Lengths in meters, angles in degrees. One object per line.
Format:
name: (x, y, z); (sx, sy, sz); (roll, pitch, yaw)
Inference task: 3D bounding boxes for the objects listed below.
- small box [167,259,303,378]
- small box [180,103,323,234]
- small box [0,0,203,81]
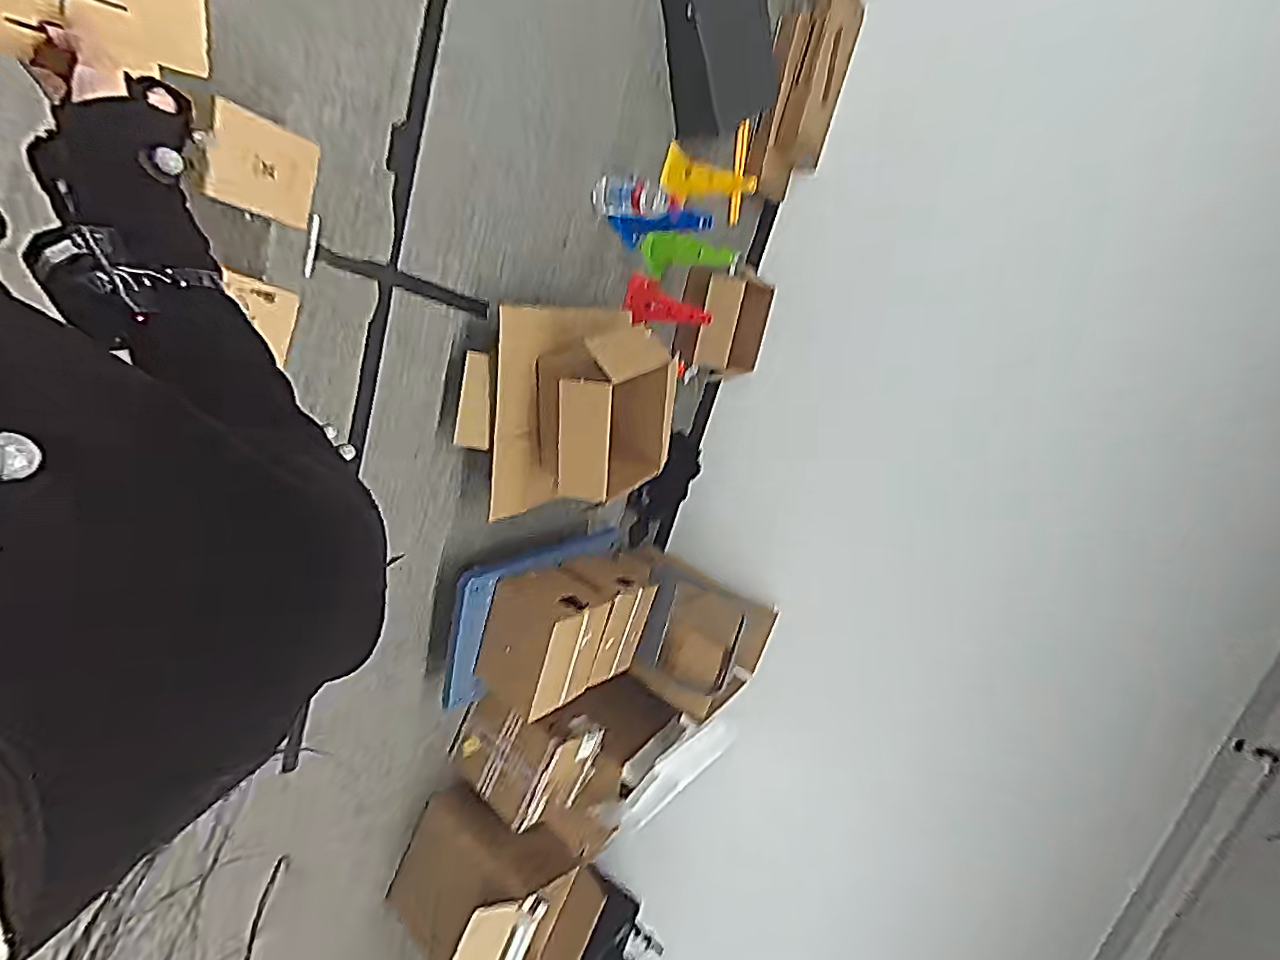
small box: (-0.850, -0.335, 1.131); (0.168, 0.176, 0.179); (9, 104, -58)
small box: (-0.769, -0.609, 1.067); (0.179, 0.176, 0.168); (-2, 113, -58)
small box: (-0.415, -0.405, 0.349); (0.168, 0.176, 0.179); (-19, 140, -49)
